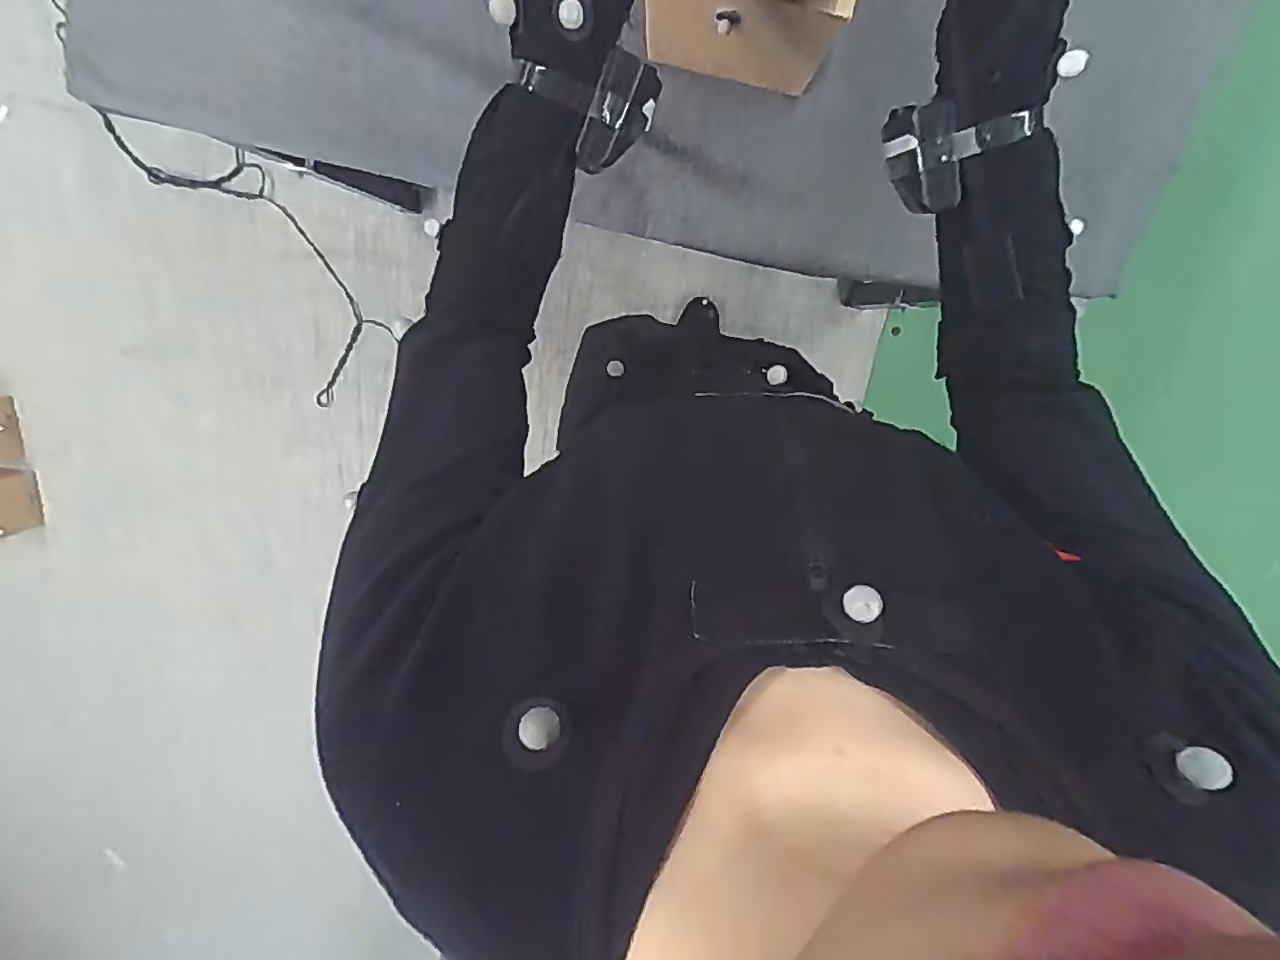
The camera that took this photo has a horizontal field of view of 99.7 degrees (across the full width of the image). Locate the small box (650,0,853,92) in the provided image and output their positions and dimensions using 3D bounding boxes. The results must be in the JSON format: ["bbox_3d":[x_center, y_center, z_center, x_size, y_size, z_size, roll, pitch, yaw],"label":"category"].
[{"bbox_3d":[0.108,-0.494,0.498,0.179,0.176,0.168,12,107,-2],"label":"small box"}]

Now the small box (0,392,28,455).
[{"bbox_3d":[-1.821,-0.149,1.443,0.179,0.176,0.168,8,108,0],"label":"small box"}]
